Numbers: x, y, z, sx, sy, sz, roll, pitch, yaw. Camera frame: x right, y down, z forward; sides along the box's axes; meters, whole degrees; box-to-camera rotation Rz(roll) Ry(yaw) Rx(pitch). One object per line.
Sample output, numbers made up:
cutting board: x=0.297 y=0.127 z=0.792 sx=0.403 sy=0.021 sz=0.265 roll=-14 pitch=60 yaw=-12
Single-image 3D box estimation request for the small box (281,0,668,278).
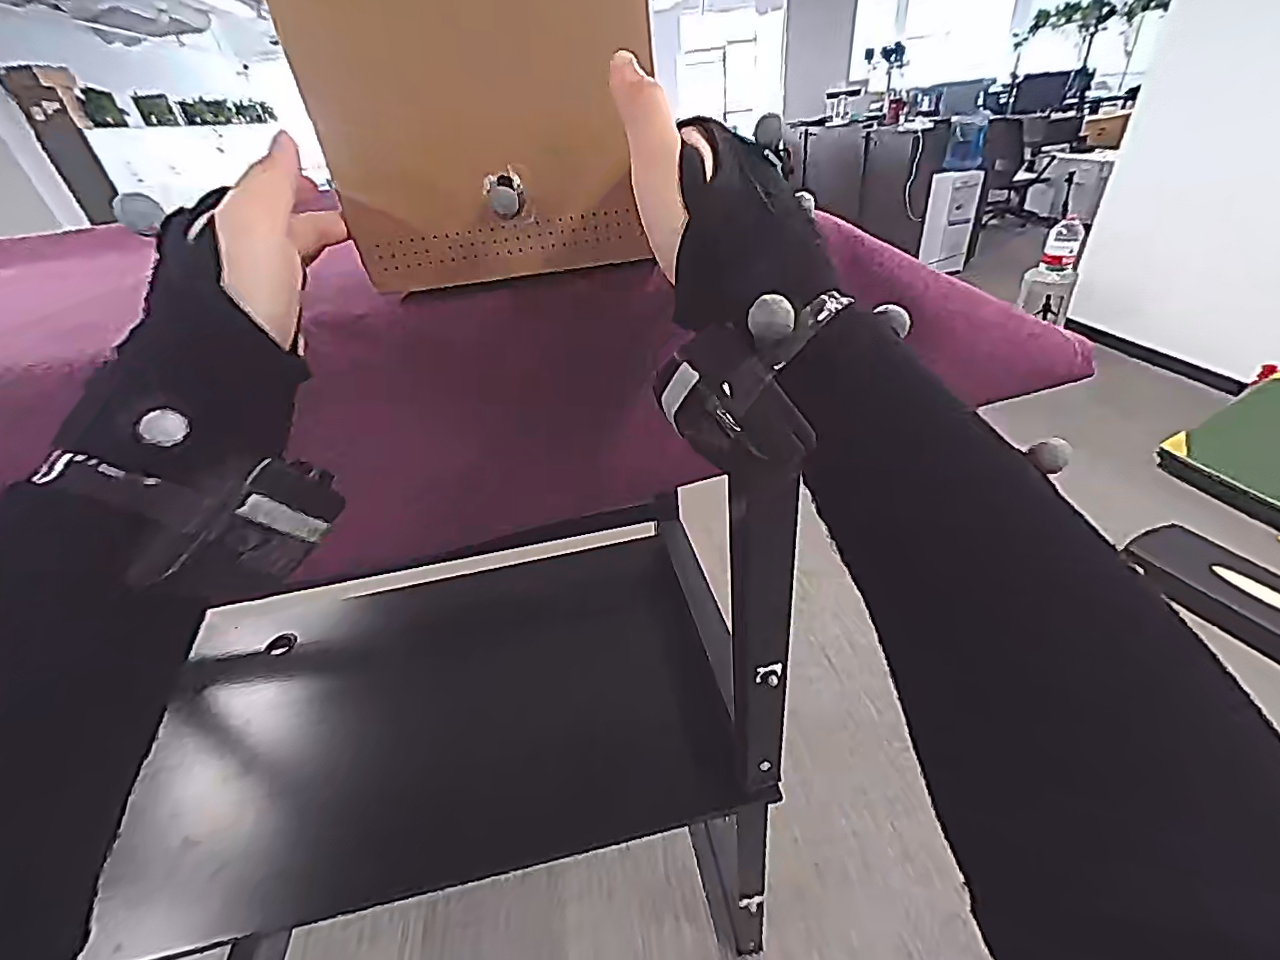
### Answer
small box: x=-0.079 y=-0.234 z=0.332 sx=0.179 sy=0.176 sz=0.168 roll=-8 pitch=31 yaw=-1
